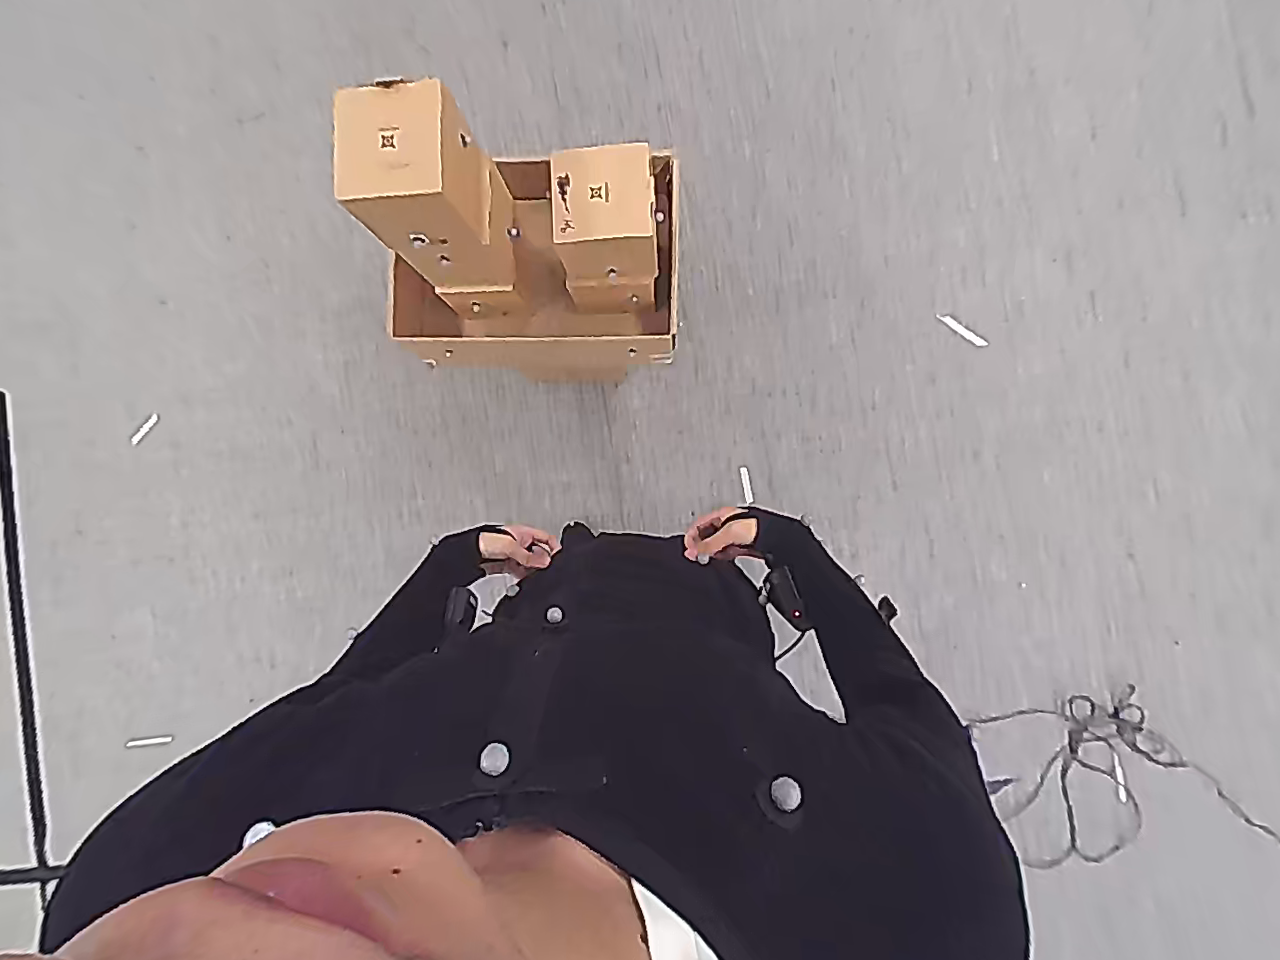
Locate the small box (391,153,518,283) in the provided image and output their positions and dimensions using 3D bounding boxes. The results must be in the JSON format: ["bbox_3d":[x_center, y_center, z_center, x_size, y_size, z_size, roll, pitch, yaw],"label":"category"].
[{"bbox_3d":[-0.342,-0.485,1.023,0.179,0.176,0.168,1,87,3],"label":"small box"}]

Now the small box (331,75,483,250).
[{"bbox_3d":[-0.359,-0.492,0.860,0.168,0.176,0.179,-2,86,5],"label":"small box"}]

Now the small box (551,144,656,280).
[{"bbox_3d":[-0.060,-0.485,0.999,0.179,0.176,0.168,-2,87,5],"label":"small box"}]

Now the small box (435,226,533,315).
[{"bbox_3d":[-0.335,-0.469,1.186,0.168,0.176,0.179,-1,87,3],"label":"small box"}]
